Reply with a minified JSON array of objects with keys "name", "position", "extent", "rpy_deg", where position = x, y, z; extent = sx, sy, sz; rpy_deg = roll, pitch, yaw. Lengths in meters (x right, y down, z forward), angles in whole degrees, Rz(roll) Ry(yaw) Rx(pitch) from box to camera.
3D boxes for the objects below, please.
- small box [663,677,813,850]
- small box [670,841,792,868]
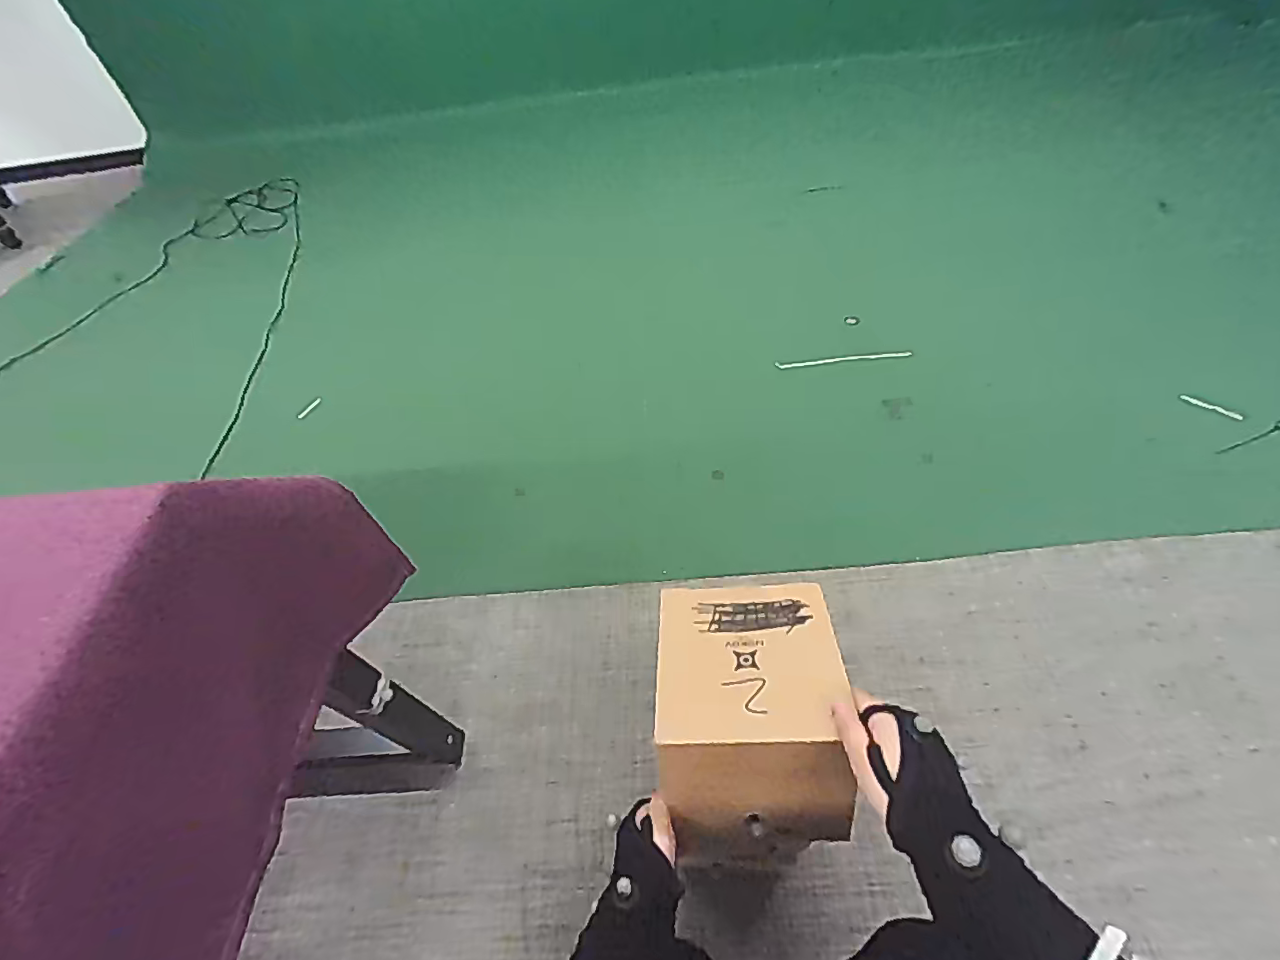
[{"name":"small box","position":[0.119,0.376,0.710],"extent":[0.168,0.176,0.179],"rpy_deg":[-3,50,4]},{"name":"small box","position":[0.134,0.484,0.832],"extent":[0.168,0.176,0.179],"rpy_deg":[-2,51,6]}]
